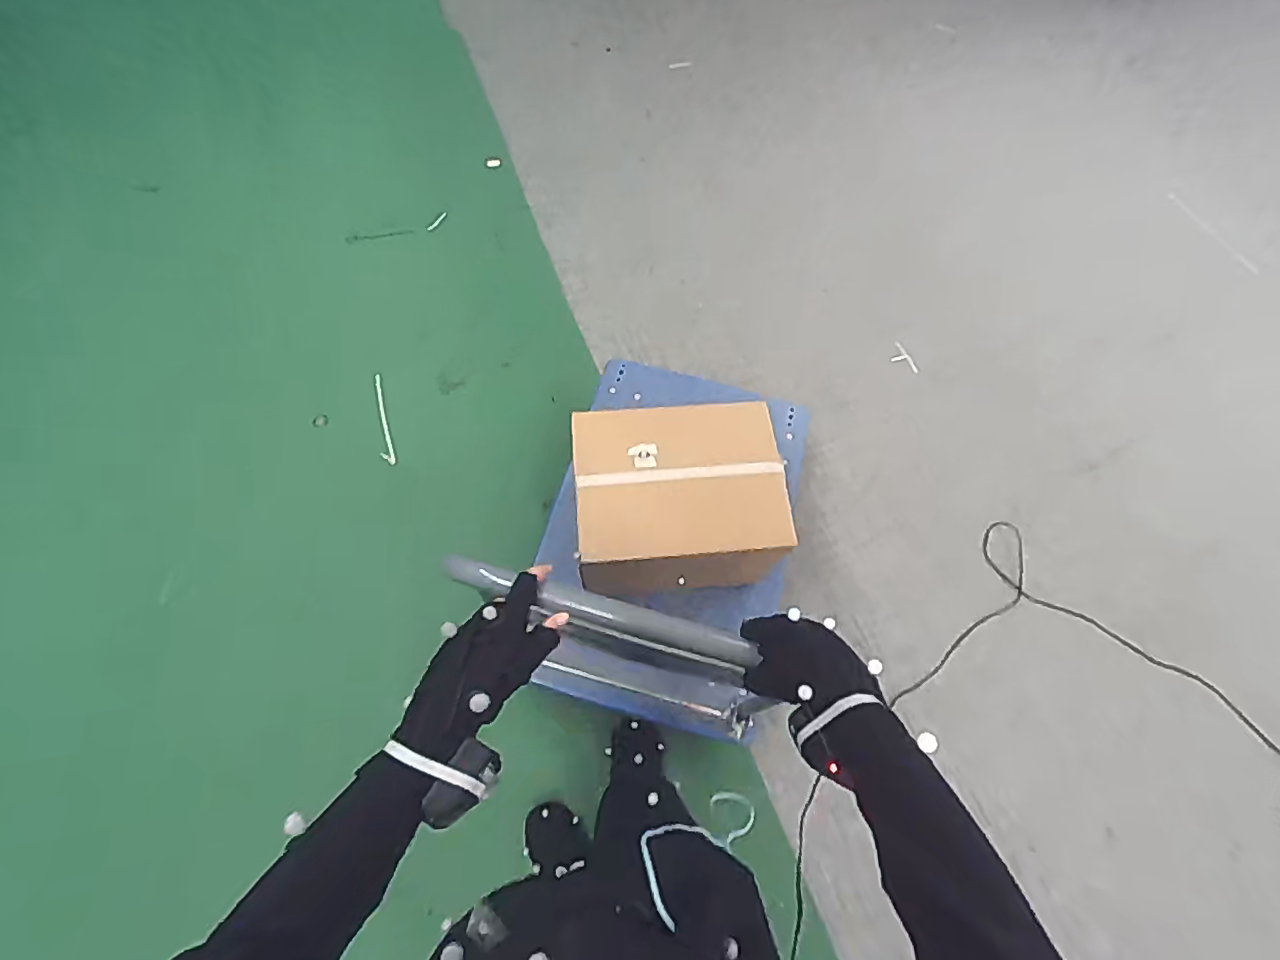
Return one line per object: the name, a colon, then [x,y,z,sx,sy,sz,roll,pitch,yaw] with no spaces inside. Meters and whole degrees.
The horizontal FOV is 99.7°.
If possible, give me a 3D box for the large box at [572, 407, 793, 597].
large box: [0.071,0.062,1.189,0.408,0.320,0.320,-4,66,-4]
